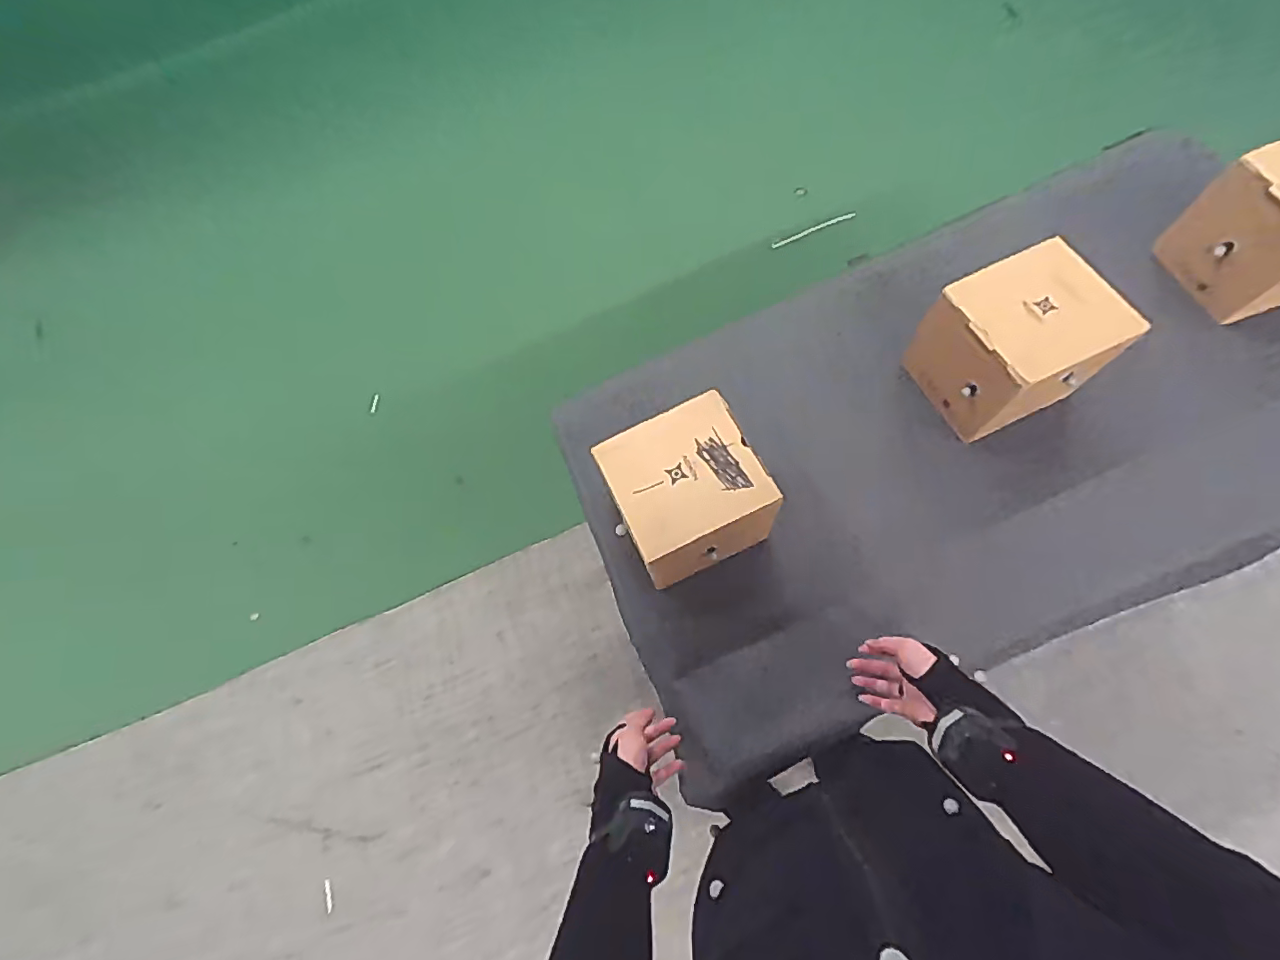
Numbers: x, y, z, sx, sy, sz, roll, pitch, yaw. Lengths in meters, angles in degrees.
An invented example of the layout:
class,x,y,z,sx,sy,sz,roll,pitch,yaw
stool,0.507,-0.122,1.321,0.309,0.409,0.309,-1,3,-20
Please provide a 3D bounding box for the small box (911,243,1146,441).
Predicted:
class,x,y,z,sx,sy,sz,roll,pitch,yaw
small box,0.507,-0.180,0.746,0.179,0.176,0.168,-25,69,-4

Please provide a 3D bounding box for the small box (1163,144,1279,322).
class,x,y,z,sx,sy,sz,roll,pitch,yaw
small box,0.907,-0.353,0.761,0.179,0.176,0.168,-19,68,0

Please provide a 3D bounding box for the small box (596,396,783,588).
class,x,y,z,sx,sy,sz,roll,pitch,yaw
small box,0.063,0.024,0.716,0.179,0.176,0.168,-26,67,-3
